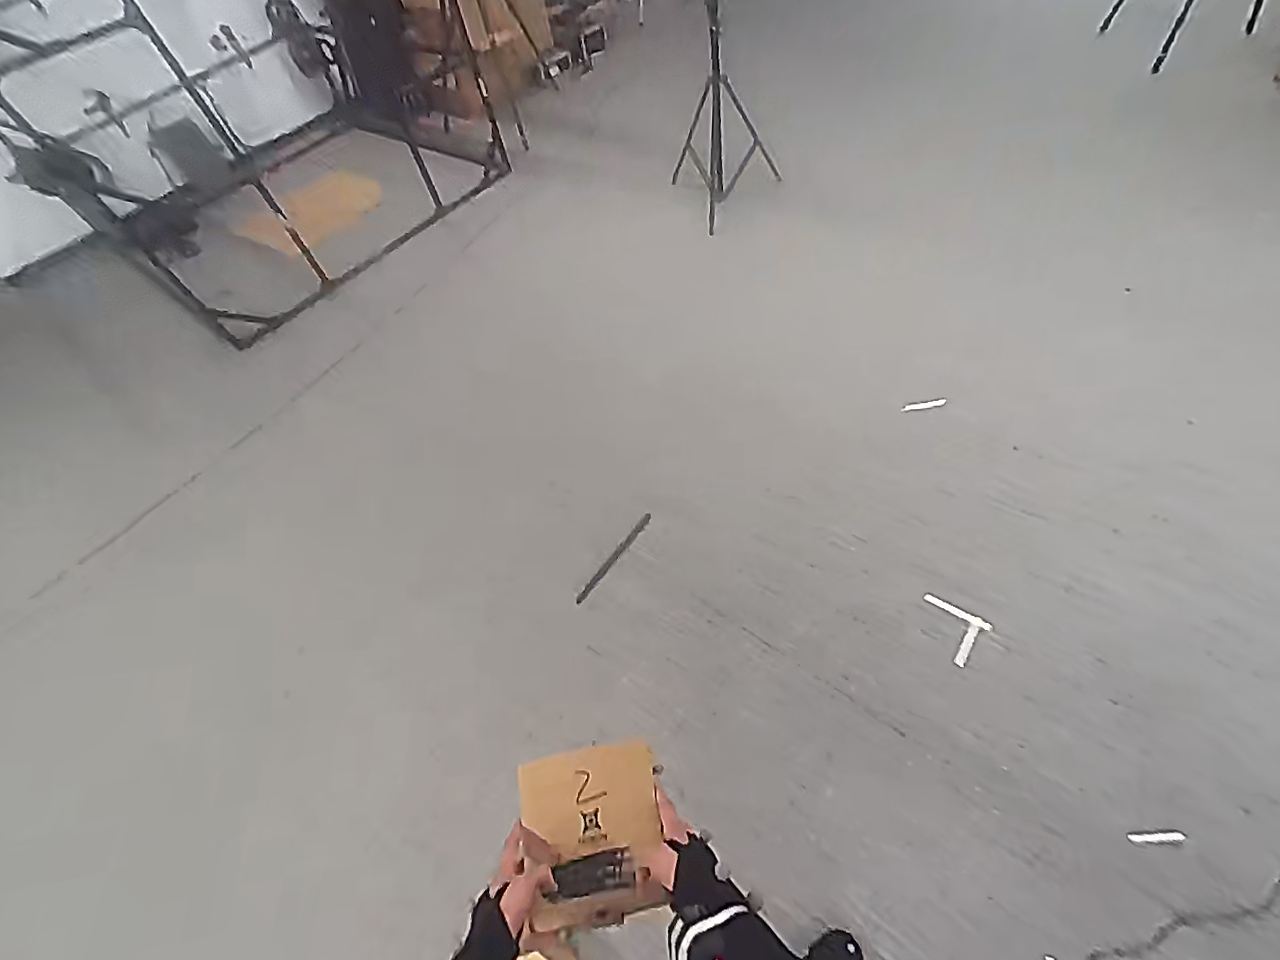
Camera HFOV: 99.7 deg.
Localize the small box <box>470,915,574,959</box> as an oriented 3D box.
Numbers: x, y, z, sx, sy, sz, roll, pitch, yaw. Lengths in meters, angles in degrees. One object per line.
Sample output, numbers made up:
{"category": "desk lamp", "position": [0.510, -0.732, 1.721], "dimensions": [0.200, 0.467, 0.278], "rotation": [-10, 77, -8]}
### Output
{"category": "small box", "position": [-0.265, 1.062, 1.143], "dimensions": [0.179, 0.176, 0.168], "rotation": [21, 60, 23]}
